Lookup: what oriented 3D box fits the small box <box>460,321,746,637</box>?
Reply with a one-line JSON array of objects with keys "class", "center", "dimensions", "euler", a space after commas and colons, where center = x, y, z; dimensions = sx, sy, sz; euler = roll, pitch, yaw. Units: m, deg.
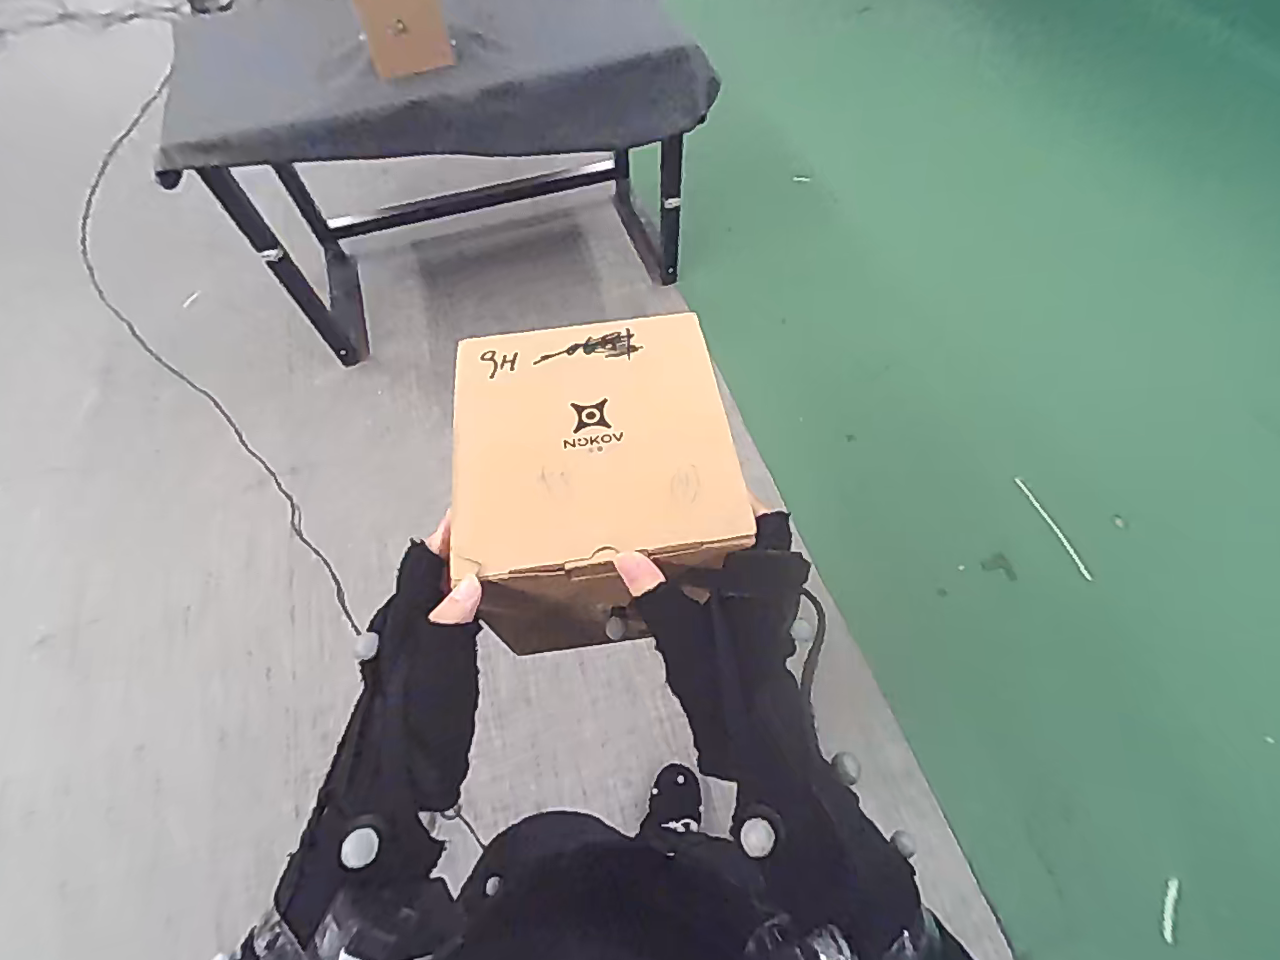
[{"class": "small box", "center": [-0.029, 0.011, 0.411], "dimensions": [0.168, 0.176, 0.179], "euler": [-8, 60, -4]}]

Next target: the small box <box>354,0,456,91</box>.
[{"class": "small box", "center": [-0.540, -1.043, 1.249], "dimensions": [0.179, 0.176, 0.168], "euler": [-19, 62, -8]}]
